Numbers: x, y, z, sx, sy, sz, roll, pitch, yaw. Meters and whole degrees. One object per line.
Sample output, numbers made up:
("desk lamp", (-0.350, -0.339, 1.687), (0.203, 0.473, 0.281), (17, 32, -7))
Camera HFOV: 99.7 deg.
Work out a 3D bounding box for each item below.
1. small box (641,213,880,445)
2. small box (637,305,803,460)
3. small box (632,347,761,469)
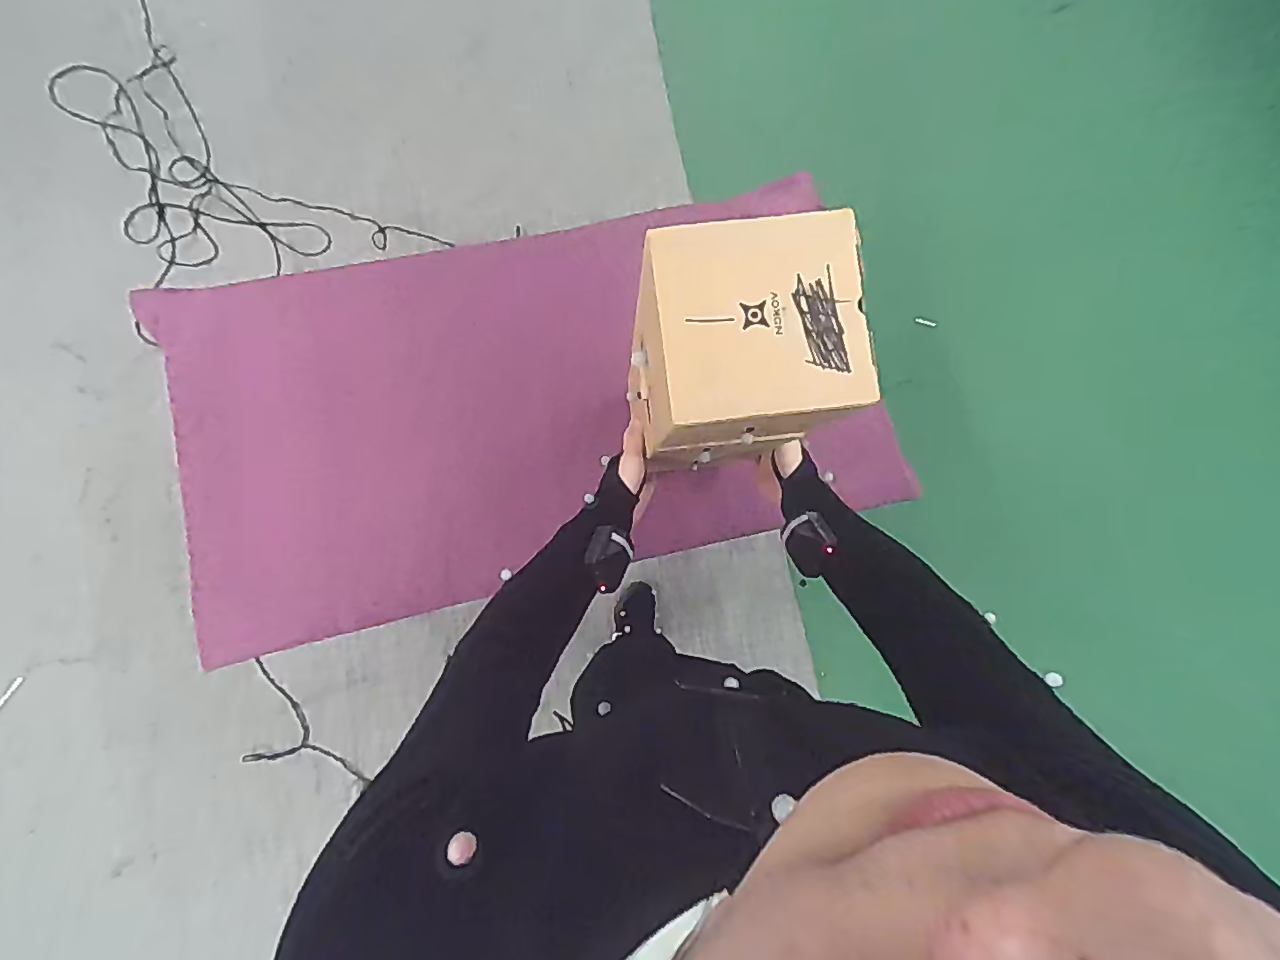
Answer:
("small box", (0.099, -0.129, 0.520), (0.179, 0.176, 0.168), (-7, 88, -3))
("small box", (0.088, -0.119, 0.684), (0.179, 0.176, 0.168), (-5, 88, -3))
("small box", (0.078, -0.109, 0.847), (0.179, 0.176, 0.168), (-4, 87, -4))
